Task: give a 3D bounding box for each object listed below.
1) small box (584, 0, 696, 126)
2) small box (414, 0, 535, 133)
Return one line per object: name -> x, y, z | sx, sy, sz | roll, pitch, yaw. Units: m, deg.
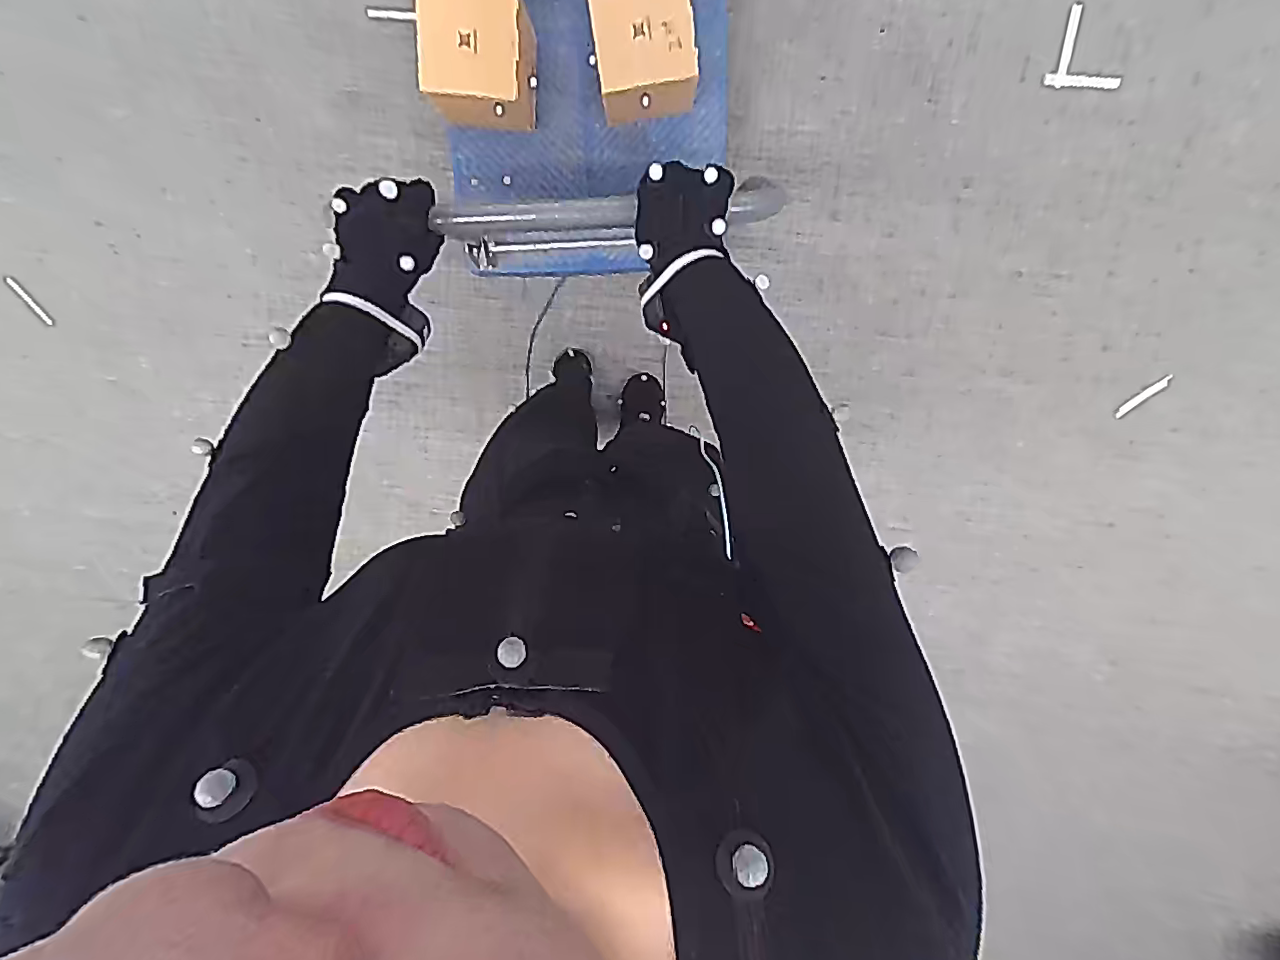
small box -> 0.003, -0.784, 1.000 | 0.179, 0.176, 0.168 | -8, 106, 3
small box -> -0.300, -0.771, 1.006 | 0.179, 0.176, 0.168 | 4, 105, -2
